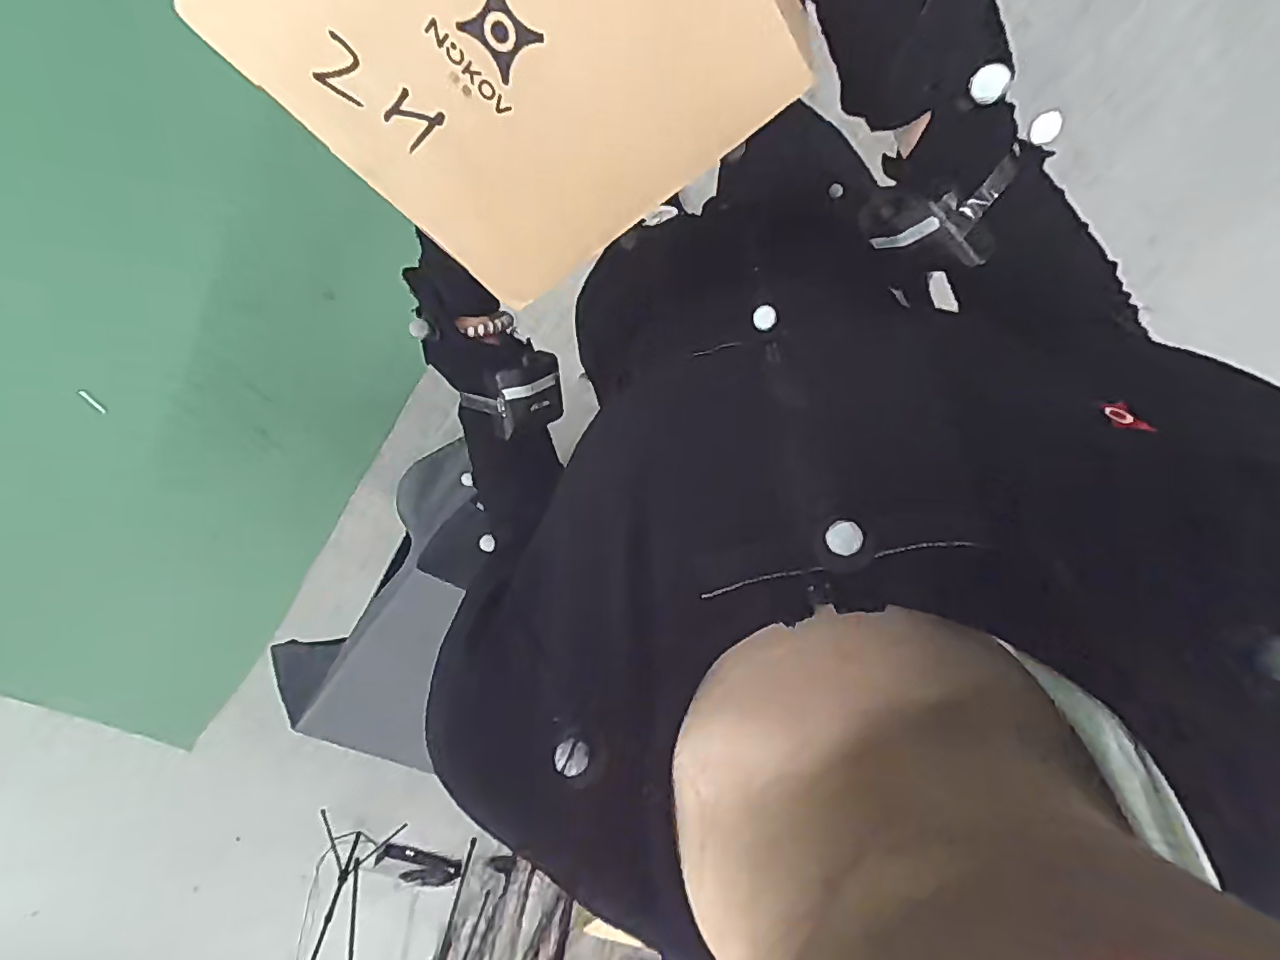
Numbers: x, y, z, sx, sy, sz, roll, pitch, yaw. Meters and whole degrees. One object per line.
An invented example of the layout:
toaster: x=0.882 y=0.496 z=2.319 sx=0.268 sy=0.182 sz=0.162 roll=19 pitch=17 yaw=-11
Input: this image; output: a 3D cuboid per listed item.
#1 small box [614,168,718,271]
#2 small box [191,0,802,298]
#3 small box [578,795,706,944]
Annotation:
small box: x=0.054 y=-0.598 z=1.206 sx=0.179 sy=0.176 sz=0.168 roll=23 pitch=135 yaw=2
small box: x=-0.045 y=-0.230 z=0.246 sx=0.179 sy=0.176 sz=0.168 roll=-20 pitch=135 yaw=37
small box: x=0.004 y=0.735 z=1.024 sx=0.168 sy=0.176 sz=0.179 roll=32 pitch=118 yaw=-21
